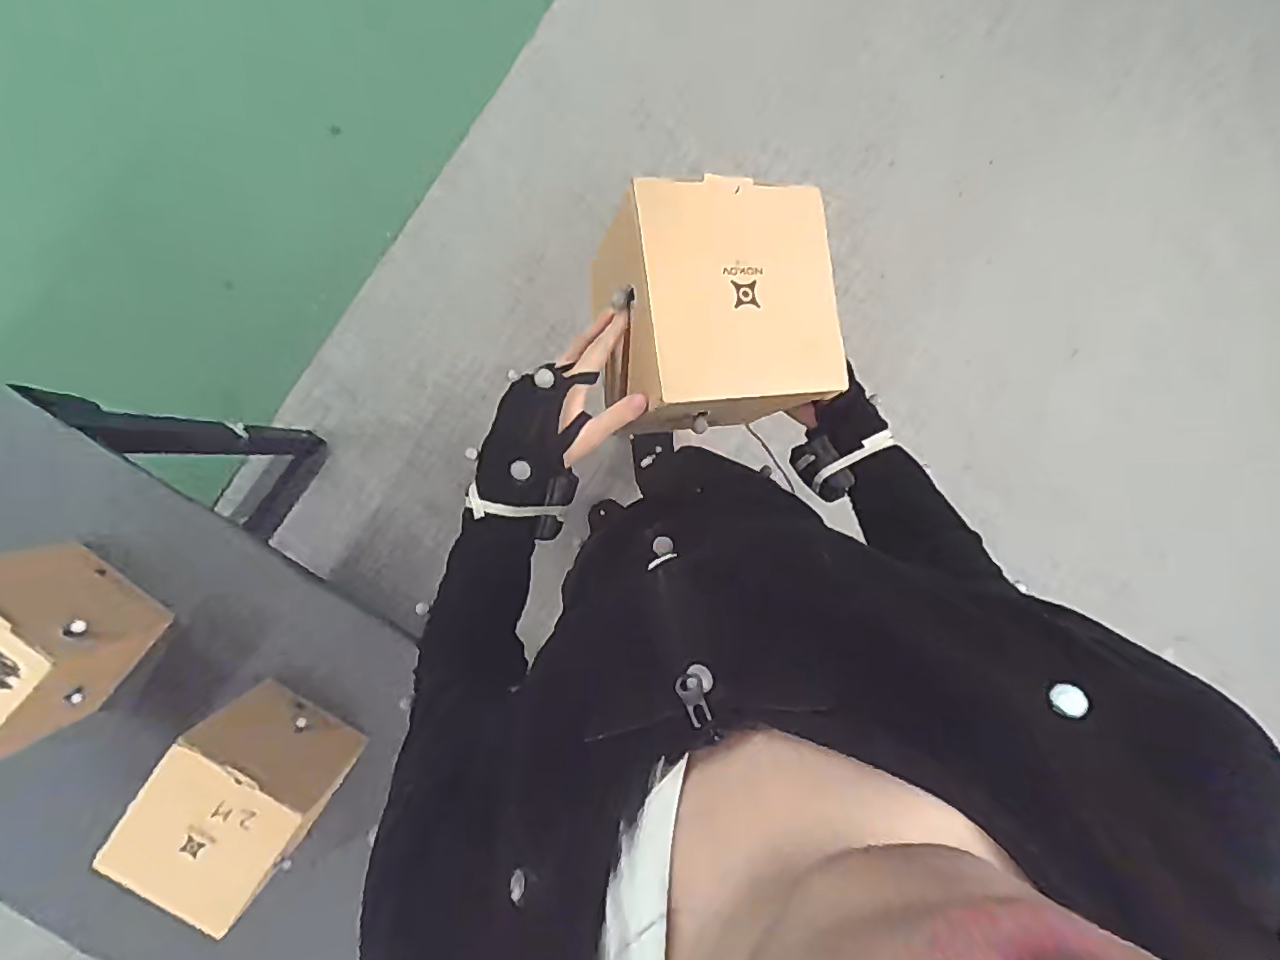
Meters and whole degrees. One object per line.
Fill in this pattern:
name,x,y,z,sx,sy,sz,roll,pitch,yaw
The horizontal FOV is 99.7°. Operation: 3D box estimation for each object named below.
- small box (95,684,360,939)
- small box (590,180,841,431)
small box,-0.496,0.399,0.683,0.168,0.176,0.179,35,91,-4
small box,0.056,-0.145,0.505,0.168,0.176,0.179,-7,87,-17
